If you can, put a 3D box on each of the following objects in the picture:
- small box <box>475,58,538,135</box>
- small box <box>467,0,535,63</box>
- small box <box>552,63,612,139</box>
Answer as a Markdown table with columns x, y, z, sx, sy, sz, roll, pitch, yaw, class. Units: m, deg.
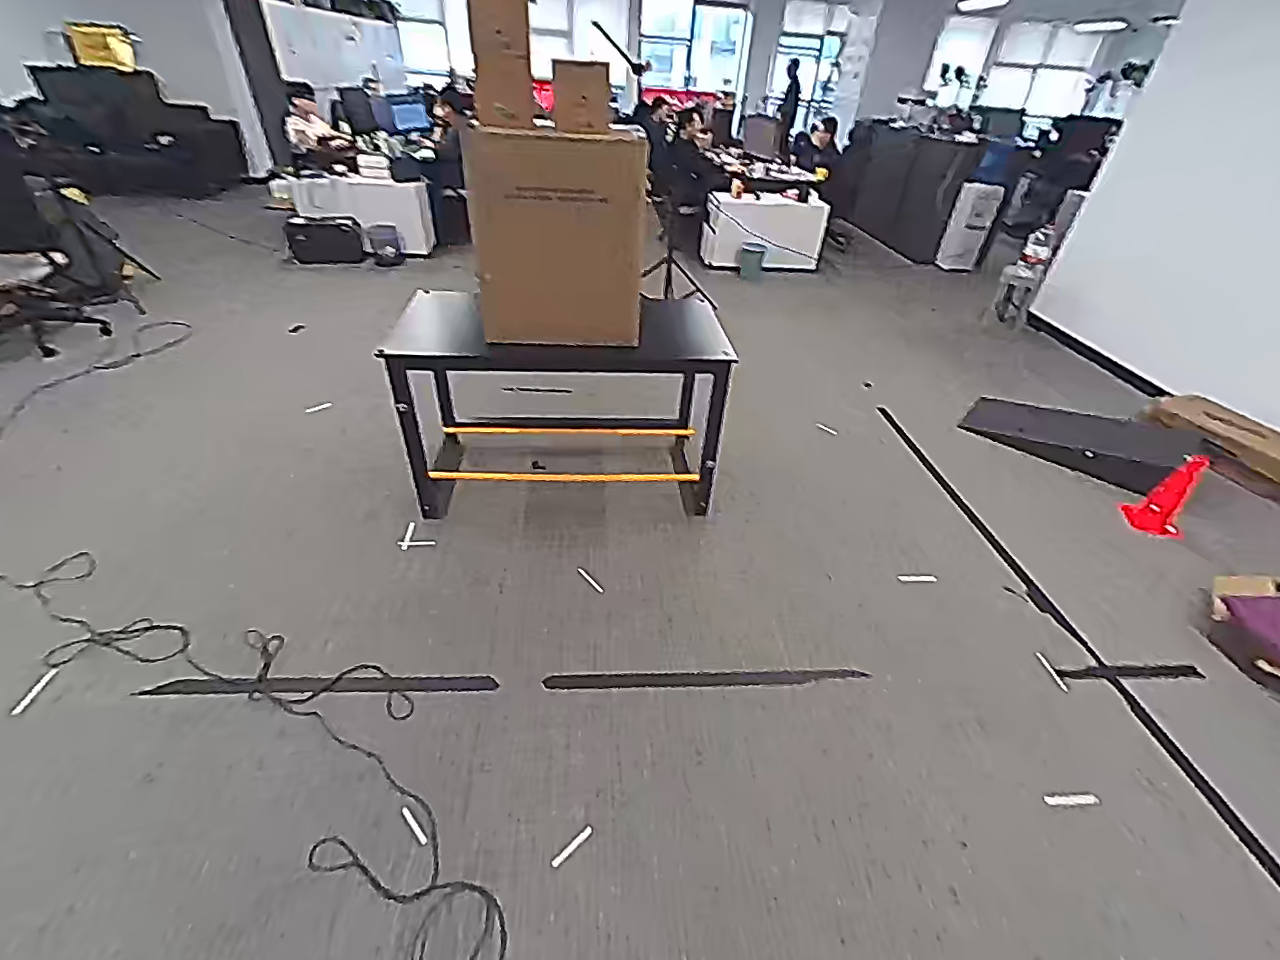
| x | y | z | sx | sy | sz | roll | pitch | yaw | class |
| --- | --- | --- | --- | --- | --- | --- | --- | --- | --- |
| -0.388 | -1.131 | 1.591 | 0.168 | 0.176 | 0.179 | -3 | 39 | -10 | small box |
| -0.379 | -1.260 | 1.488 | 0.168 | 0.176 | 0.179 | -2 | 38 | -8 | small box |
| -0.170 | -1.112 | 1.586 | 0.168 | 0.176 | 0.179 | -4 | 39 | -9 | small box |
